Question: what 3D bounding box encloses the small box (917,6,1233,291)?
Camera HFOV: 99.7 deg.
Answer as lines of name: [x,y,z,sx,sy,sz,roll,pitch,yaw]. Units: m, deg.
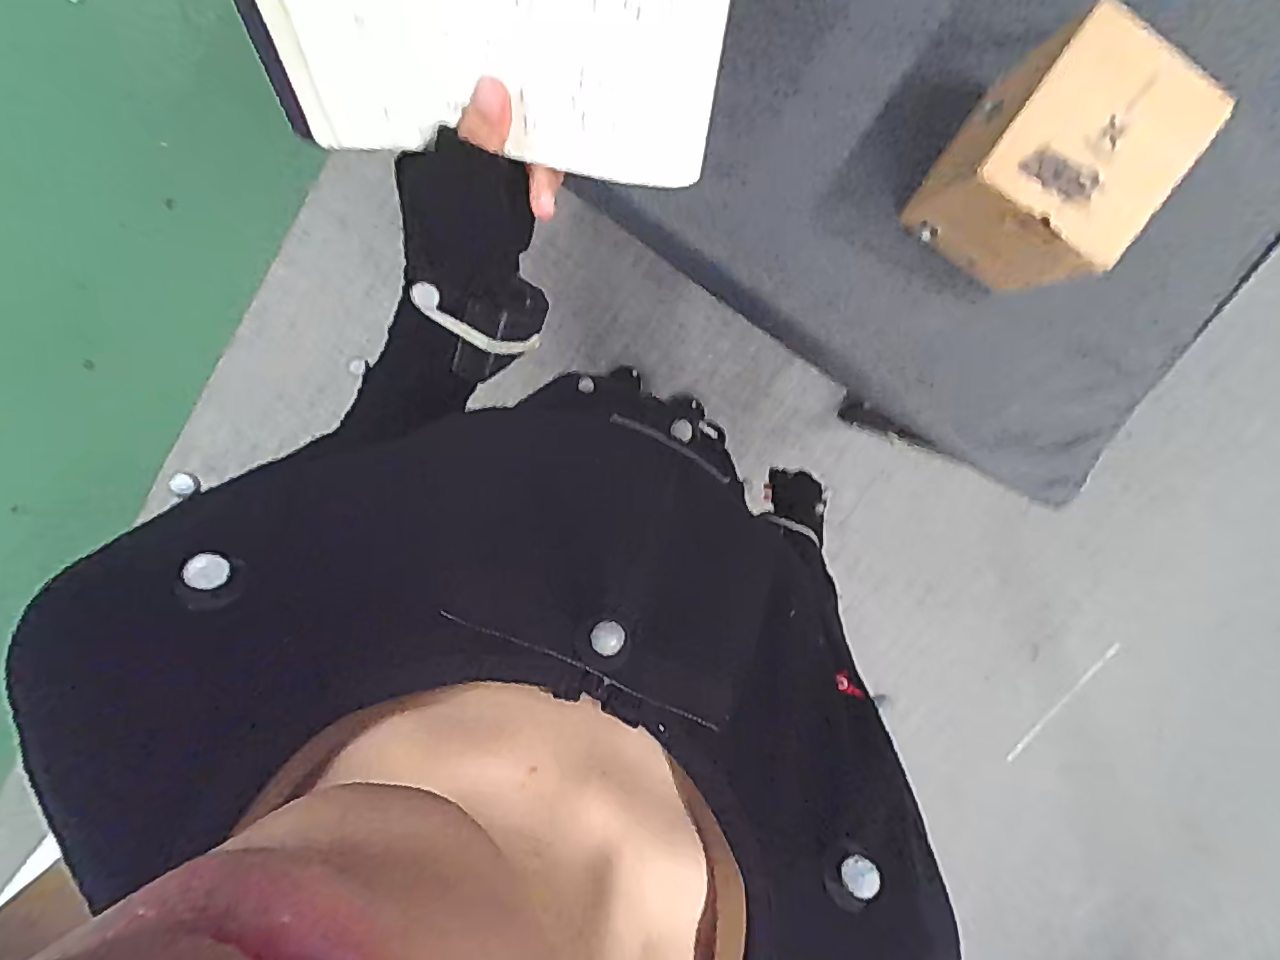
small box: [0.440,-0.331,0.588,0.168,0.176,0.179,33,99,-6]
